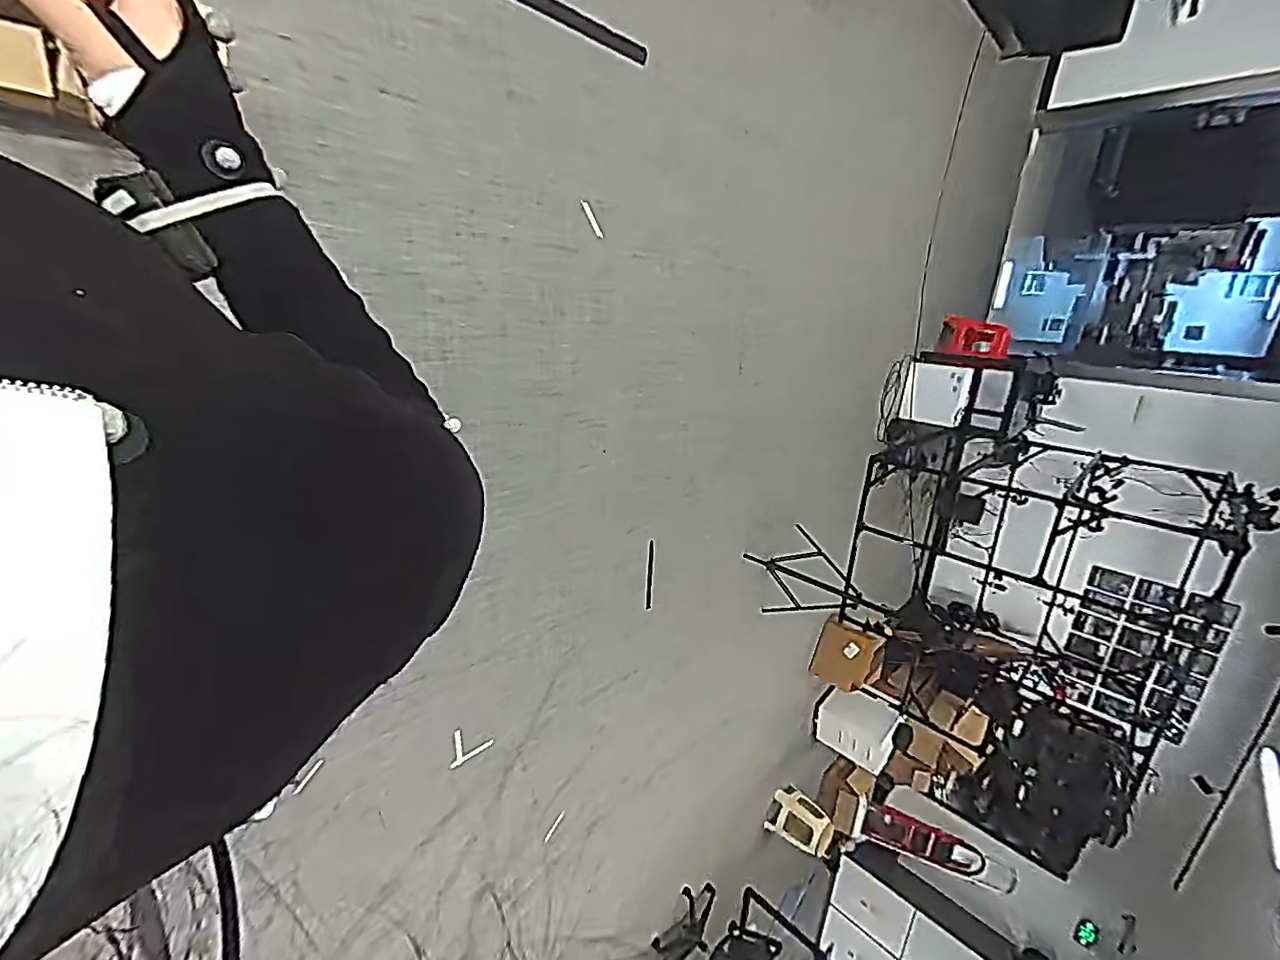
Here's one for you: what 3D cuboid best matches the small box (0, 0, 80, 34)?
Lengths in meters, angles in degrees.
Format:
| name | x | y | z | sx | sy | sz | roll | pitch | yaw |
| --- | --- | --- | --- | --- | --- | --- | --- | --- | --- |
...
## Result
| name | x | y | z | sx | sy | sz | roll | pitch | yaw |
| --- | --- | --- | --- | --- | --- | --- | --- | --- | --- |
| small box | -0.426 | -0.359 | 0.272 | 0.179 | 0.176 | 0.168 | -14 | 123 | -40 |

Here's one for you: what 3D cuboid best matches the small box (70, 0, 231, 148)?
| name | x | y | z | sx | sy | sz | roll | pitch | yaw |
| --- | --- | --- | --- | --- | --- | --- | --- | --- | --- |
| small box | -0.778 | -0.651 | 0.861 | 0.168 | 0.176 | 0.179 | -14 | 116 | -44 |
